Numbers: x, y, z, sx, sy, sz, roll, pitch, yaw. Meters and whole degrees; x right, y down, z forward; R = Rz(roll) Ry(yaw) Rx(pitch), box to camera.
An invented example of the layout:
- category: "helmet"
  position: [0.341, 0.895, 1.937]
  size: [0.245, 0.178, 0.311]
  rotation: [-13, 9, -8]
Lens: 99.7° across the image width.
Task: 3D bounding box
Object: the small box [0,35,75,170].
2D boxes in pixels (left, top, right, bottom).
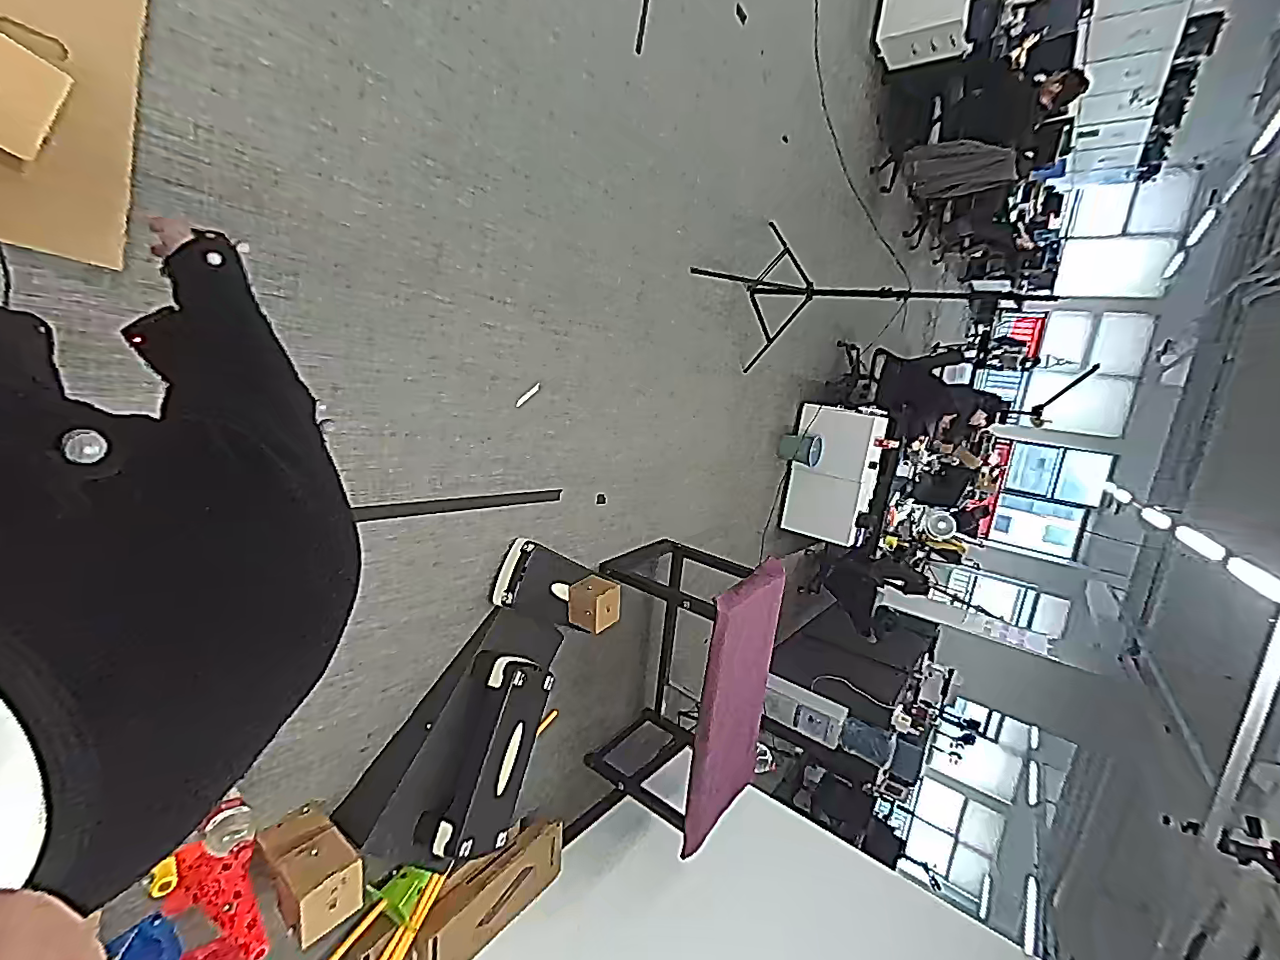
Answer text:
- category: "small box"
  position: [-1.101, -0.648, 0.900]
  size: [0.179, 0.176, 0.168]
  rotation: [27, 82, -50]
